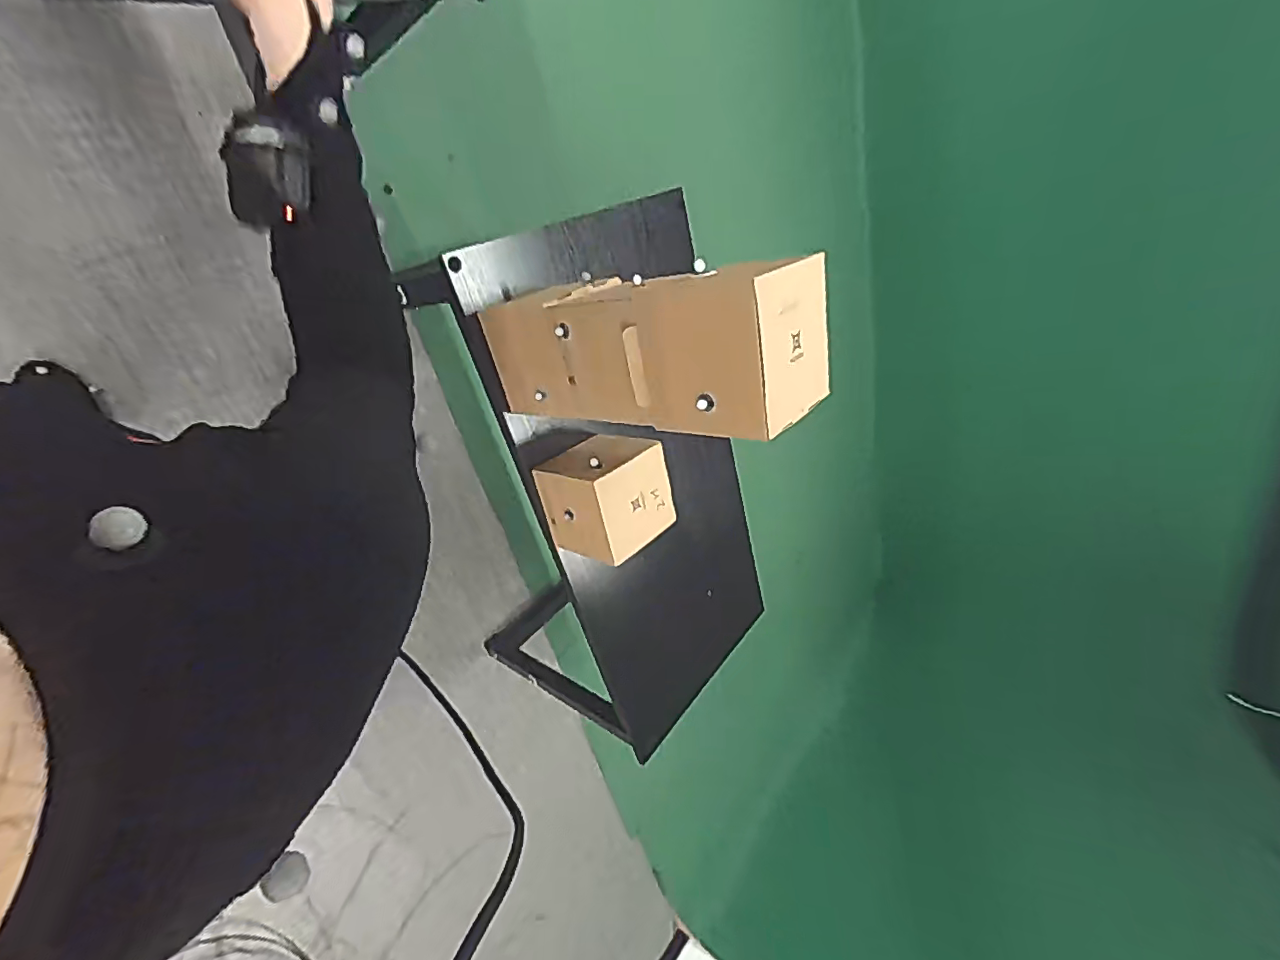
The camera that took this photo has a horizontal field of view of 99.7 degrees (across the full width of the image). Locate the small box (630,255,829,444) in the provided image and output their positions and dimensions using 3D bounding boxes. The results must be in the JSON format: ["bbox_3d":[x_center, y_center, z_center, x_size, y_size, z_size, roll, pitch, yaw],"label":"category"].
[{"bbox_3d":[0.112,-0.161,0.655,0.168,0.176,0.179,-34,123,-40],"label":"small box"}]

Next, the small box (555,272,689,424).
[{"bbox_3d":[-0.002,-0.190,0.768,0.179,0.176,0.168,-34,123,-39],"label":"small box"}]

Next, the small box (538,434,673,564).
[{"bbox_3d":[-0.067,0.025,0.992,0.179,0.176,0.168,-33,122,-39],"label":"small box"}]
